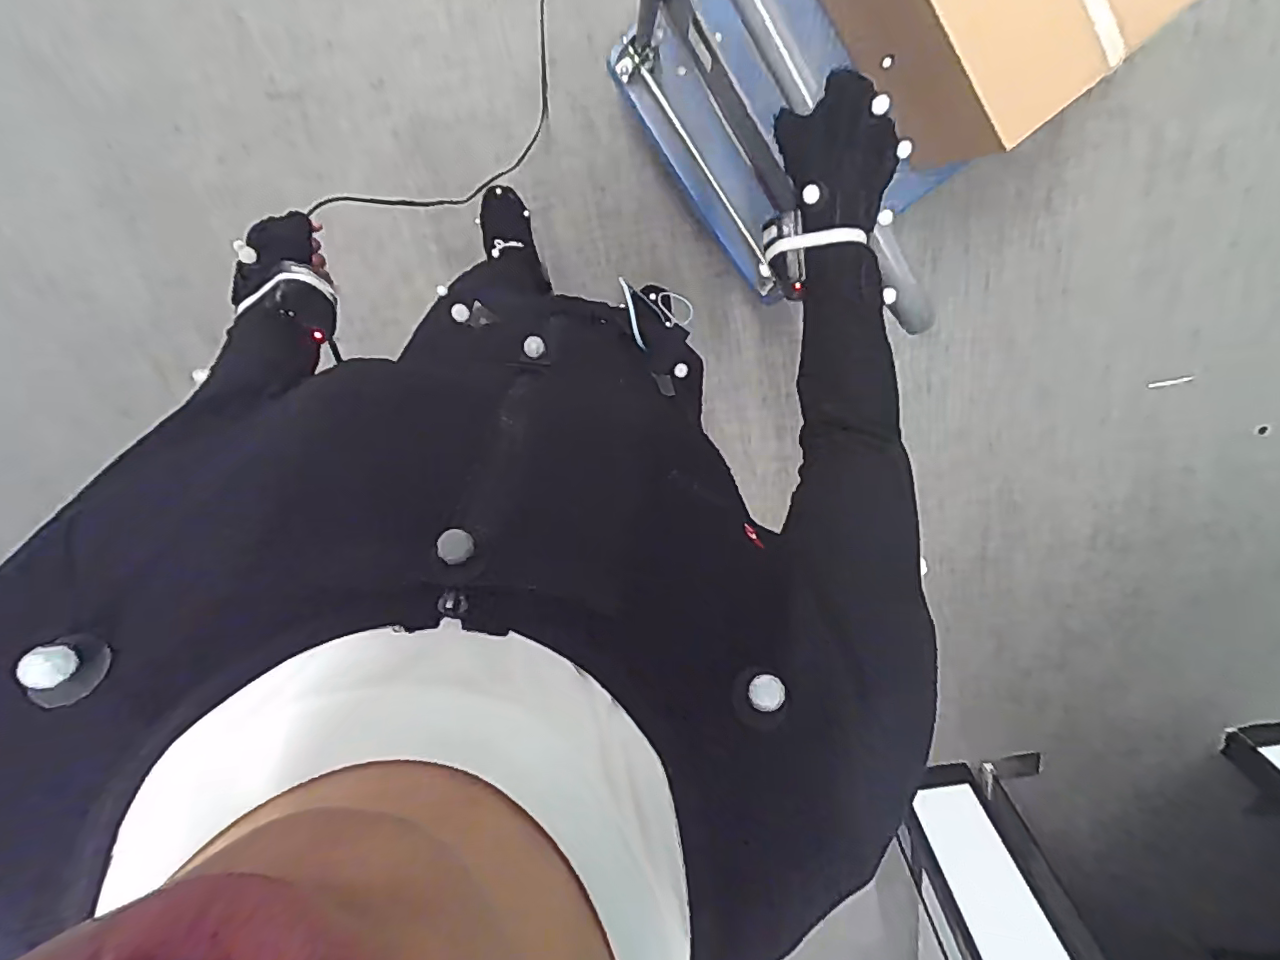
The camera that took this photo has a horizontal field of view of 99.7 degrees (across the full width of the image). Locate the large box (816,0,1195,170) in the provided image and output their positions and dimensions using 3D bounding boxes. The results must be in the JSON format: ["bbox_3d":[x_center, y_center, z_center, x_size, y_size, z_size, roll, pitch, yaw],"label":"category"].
[{"bbox_3d":[0.519,-0.762,0.820,0.320,0.320,0.408,-37,109,17],"label":"large box"}]
